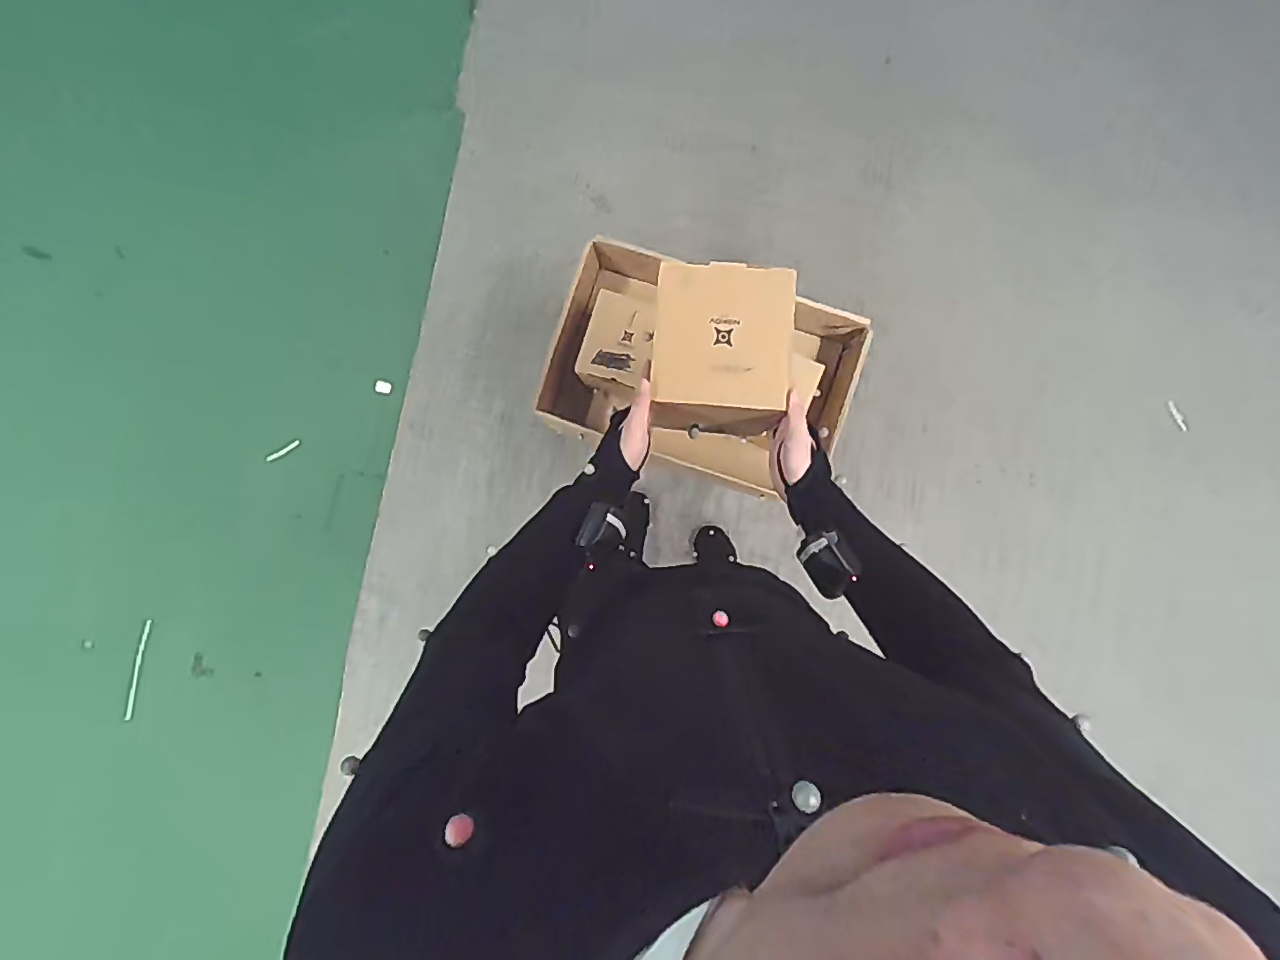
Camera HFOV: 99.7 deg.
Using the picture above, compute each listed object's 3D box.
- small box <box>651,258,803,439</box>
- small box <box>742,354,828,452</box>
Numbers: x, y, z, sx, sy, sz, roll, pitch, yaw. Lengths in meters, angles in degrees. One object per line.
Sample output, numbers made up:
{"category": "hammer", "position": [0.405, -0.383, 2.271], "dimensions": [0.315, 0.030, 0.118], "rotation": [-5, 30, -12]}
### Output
{"category": "small box", "position": [0.103, -0.160, 0.703], "dimensions": [0.168, 0.176, 0.179], "rotation": [5, 84, 1]}
{"category": "small box", "position": [0.263, -0.172, 1.131], "dimensions": [0.168, 0.176, 0.179], "rotation": [23, 90, 3]}
